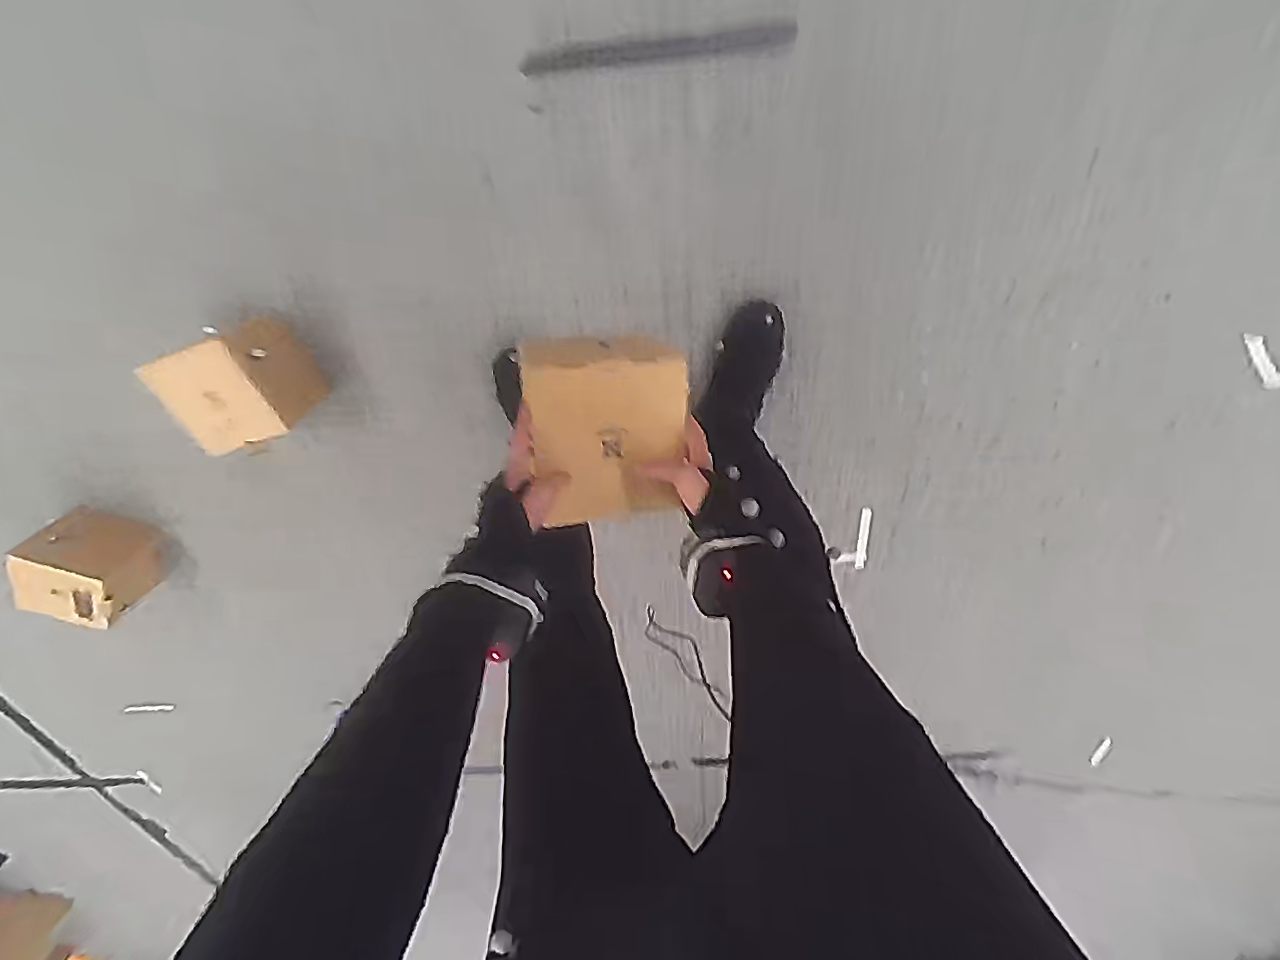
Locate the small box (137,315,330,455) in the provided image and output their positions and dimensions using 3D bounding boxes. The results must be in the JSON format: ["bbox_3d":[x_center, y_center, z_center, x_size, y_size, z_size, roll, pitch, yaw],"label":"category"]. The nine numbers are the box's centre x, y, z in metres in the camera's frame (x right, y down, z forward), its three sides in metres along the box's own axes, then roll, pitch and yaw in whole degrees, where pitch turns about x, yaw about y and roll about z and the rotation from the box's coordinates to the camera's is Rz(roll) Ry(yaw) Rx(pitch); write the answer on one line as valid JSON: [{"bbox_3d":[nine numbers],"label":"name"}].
[{"bbox_3d":[-0.700,-0.176,0.957,0.168,0.176,0.179,-16,122,10],"label":"small box"}]

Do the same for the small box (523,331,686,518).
[{"bbox_3d":[-0.048,-0.075,0.648,0.168,0.176,0.179,-6,113,-12],"label":"small box"}]
